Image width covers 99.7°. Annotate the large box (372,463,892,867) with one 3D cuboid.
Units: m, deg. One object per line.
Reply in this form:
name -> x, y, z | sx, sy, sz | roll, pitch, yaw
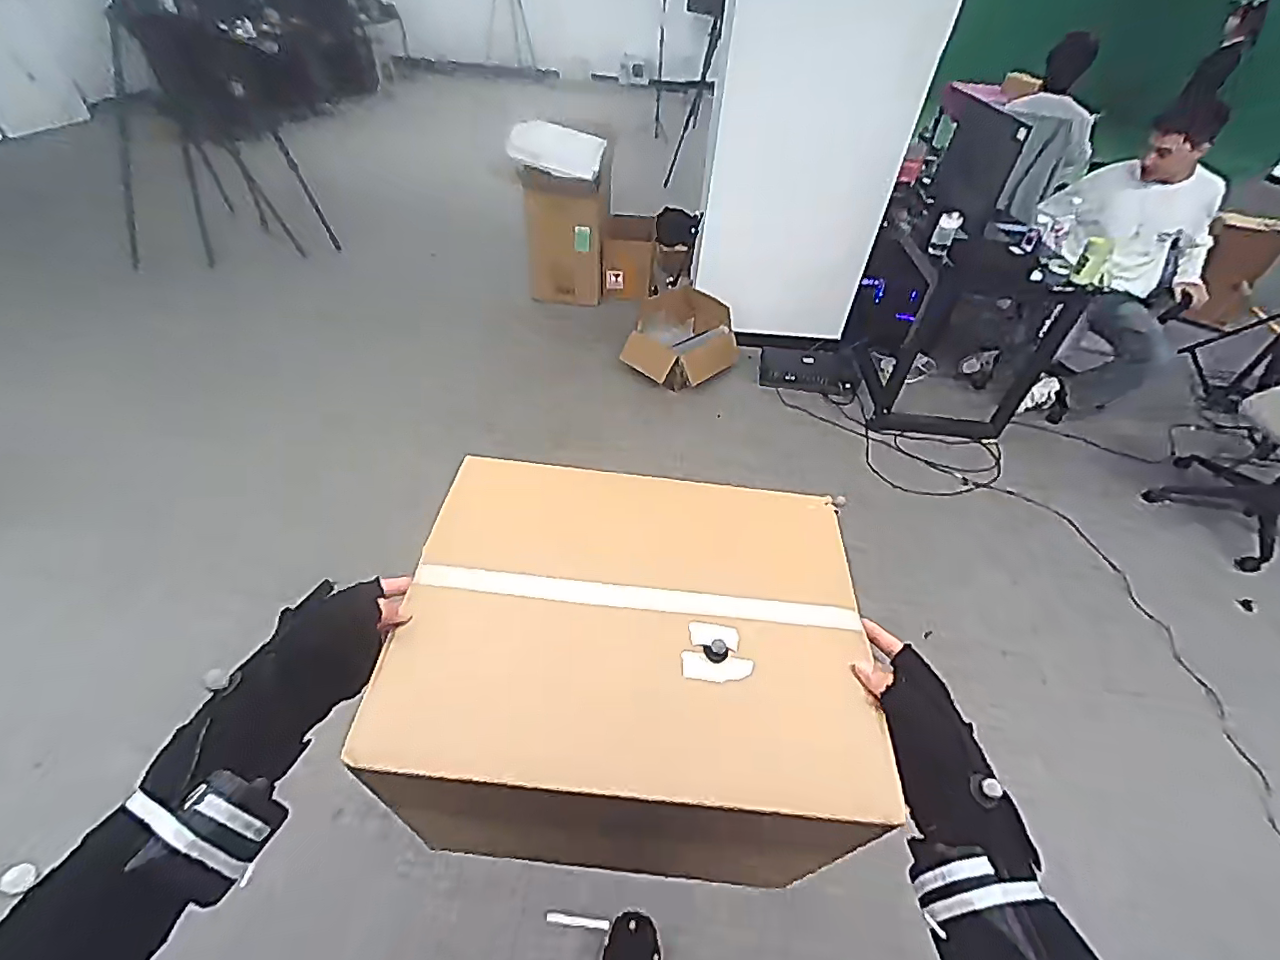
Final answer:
large box -> -0.010, 0.212, 0.612 | 0.408, 0.320, 0.320 | 7, 47, -1
